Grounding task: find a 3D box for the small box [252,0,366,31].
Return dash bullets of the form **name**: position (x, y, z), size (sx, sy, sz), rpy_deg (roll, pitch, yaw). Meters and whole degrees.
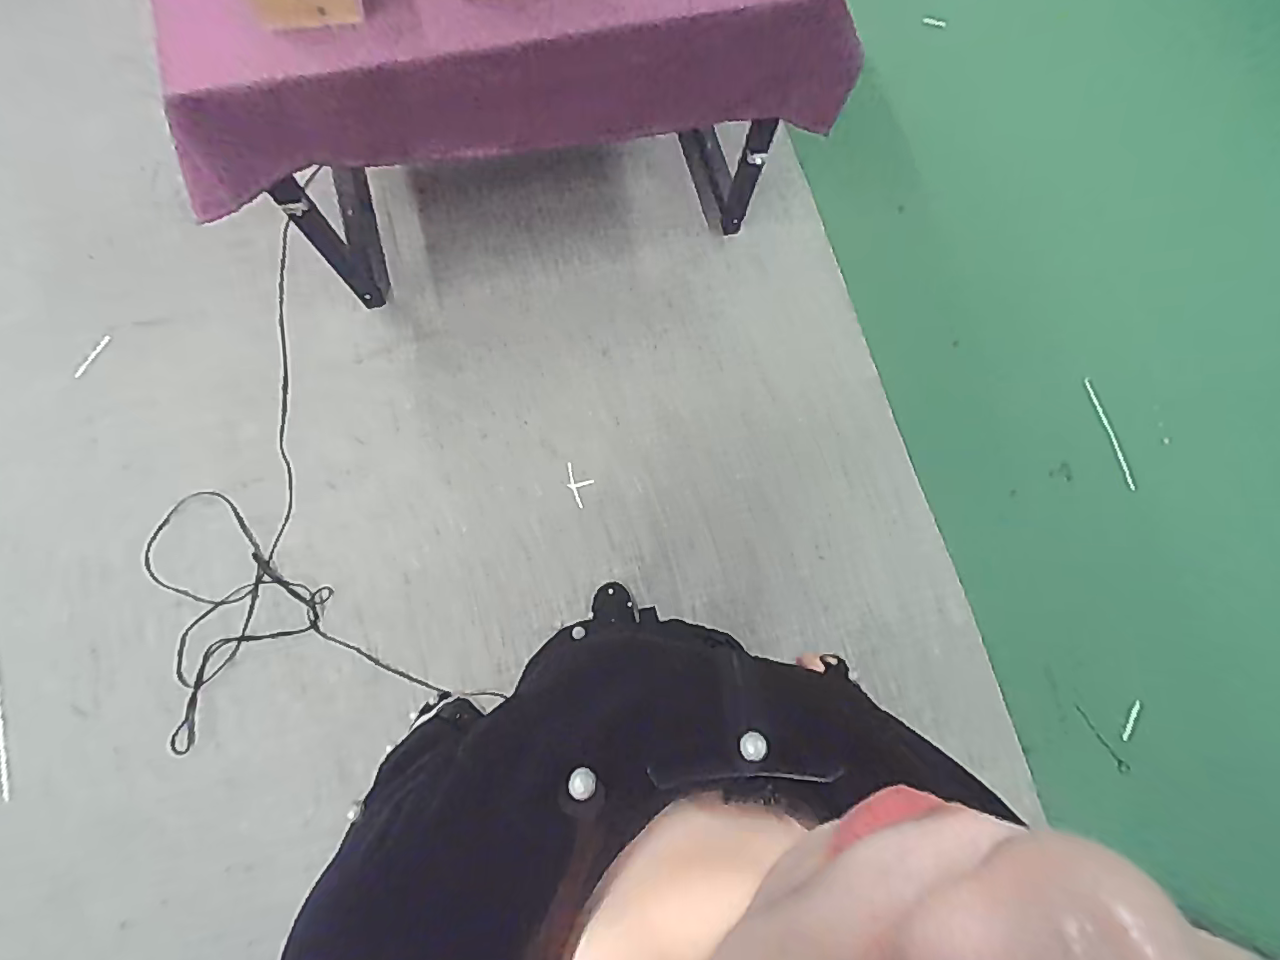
- **small box**: position (-0.565, -0.871, 0.875), size (0.168, 0.176, 0.179), rpy_deg (-11, 78, -5)
